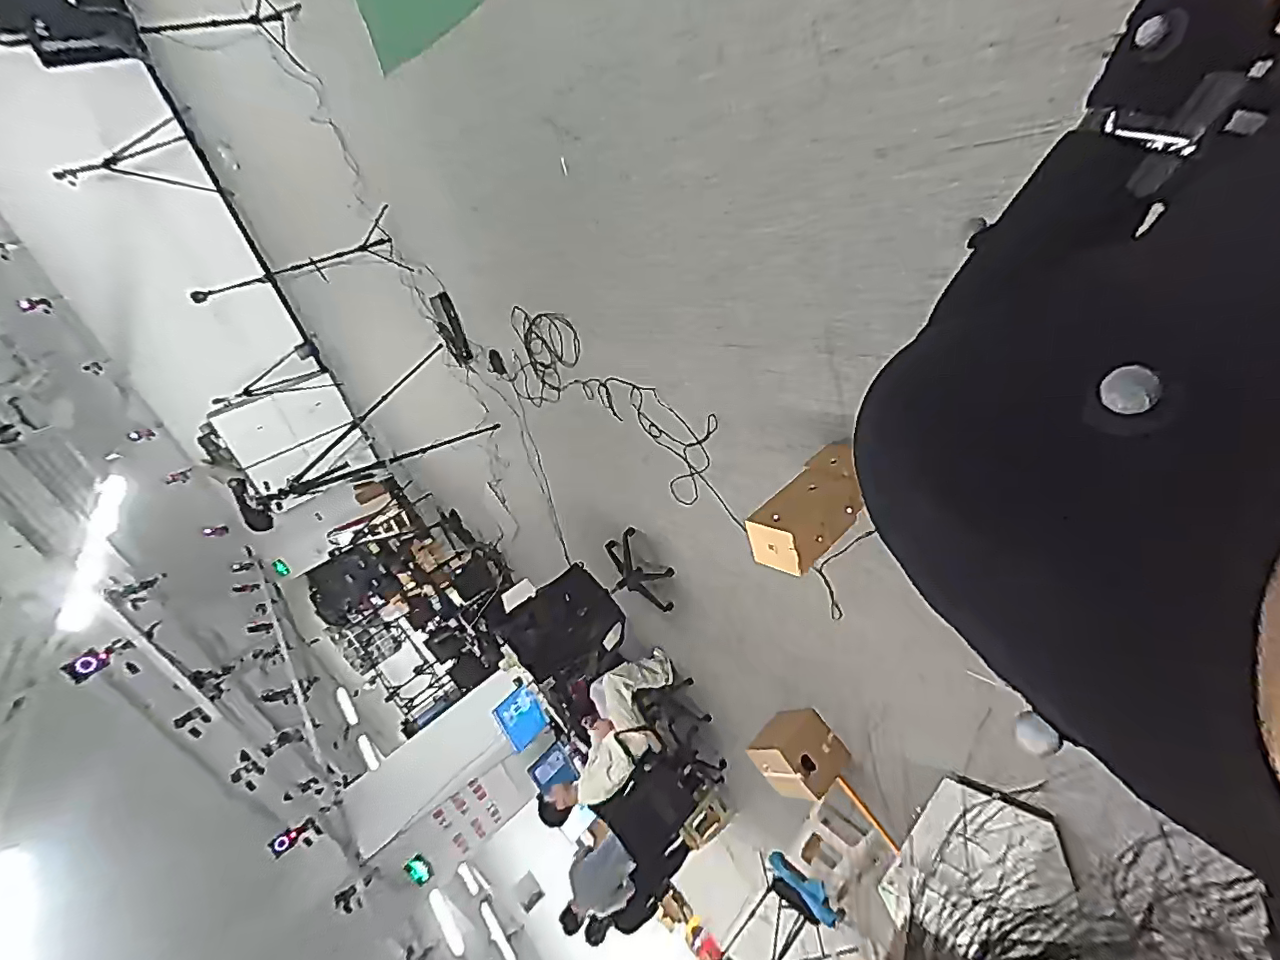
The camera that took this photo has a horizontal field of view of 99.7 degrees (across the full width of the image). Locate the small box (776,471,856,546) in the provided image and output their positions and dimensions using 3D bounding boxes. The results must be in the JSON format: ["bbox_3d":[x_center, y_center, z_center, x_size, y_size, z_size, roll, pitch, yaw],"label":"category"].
[{"bbox_3d":[0.574,0.085,1.760,0.179,0.176,0.168,15,132,49],"label":"small box"}]

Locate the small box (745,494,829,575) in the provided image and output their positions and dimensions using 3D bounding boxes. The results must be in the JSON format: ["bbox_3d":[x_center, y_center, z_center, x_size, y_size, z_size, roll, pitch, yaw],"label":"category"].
[{"bbox_3d":[0.457,0.161,1.676,0.179,0.176,0.168,14,131,49],"label":"small box"}]

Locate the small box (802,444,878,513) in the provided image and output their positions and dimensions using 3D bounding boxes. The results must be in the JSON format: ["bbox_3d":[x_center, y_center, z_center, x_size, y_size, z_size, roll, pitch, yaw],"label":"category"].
[{"bbox_3d":[0.685,-0.012,1.833,0.179,0.176,0.168,12,129,52],"label":"small box"}]
